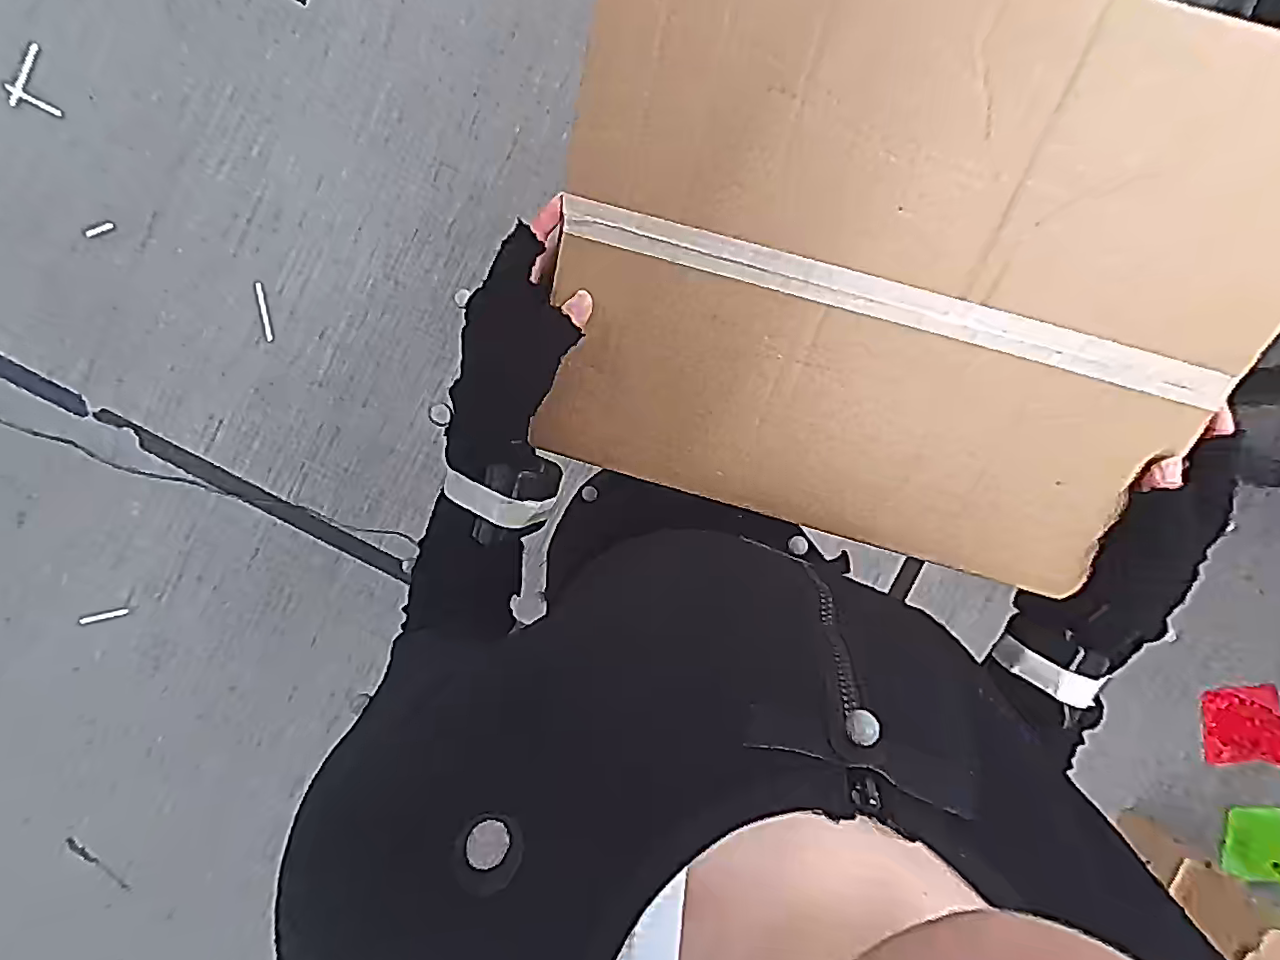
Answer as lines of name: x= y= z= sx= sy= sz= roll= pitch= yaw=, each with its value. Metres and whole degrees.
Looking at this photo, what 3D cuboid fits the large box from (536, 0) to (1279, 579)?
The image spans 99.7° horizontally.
large box: x=0.165 y=-0.173 z=0.463 sx=0.408 sy=0.320 sz=0.320 roll=16 pitch=117 yaw=1
